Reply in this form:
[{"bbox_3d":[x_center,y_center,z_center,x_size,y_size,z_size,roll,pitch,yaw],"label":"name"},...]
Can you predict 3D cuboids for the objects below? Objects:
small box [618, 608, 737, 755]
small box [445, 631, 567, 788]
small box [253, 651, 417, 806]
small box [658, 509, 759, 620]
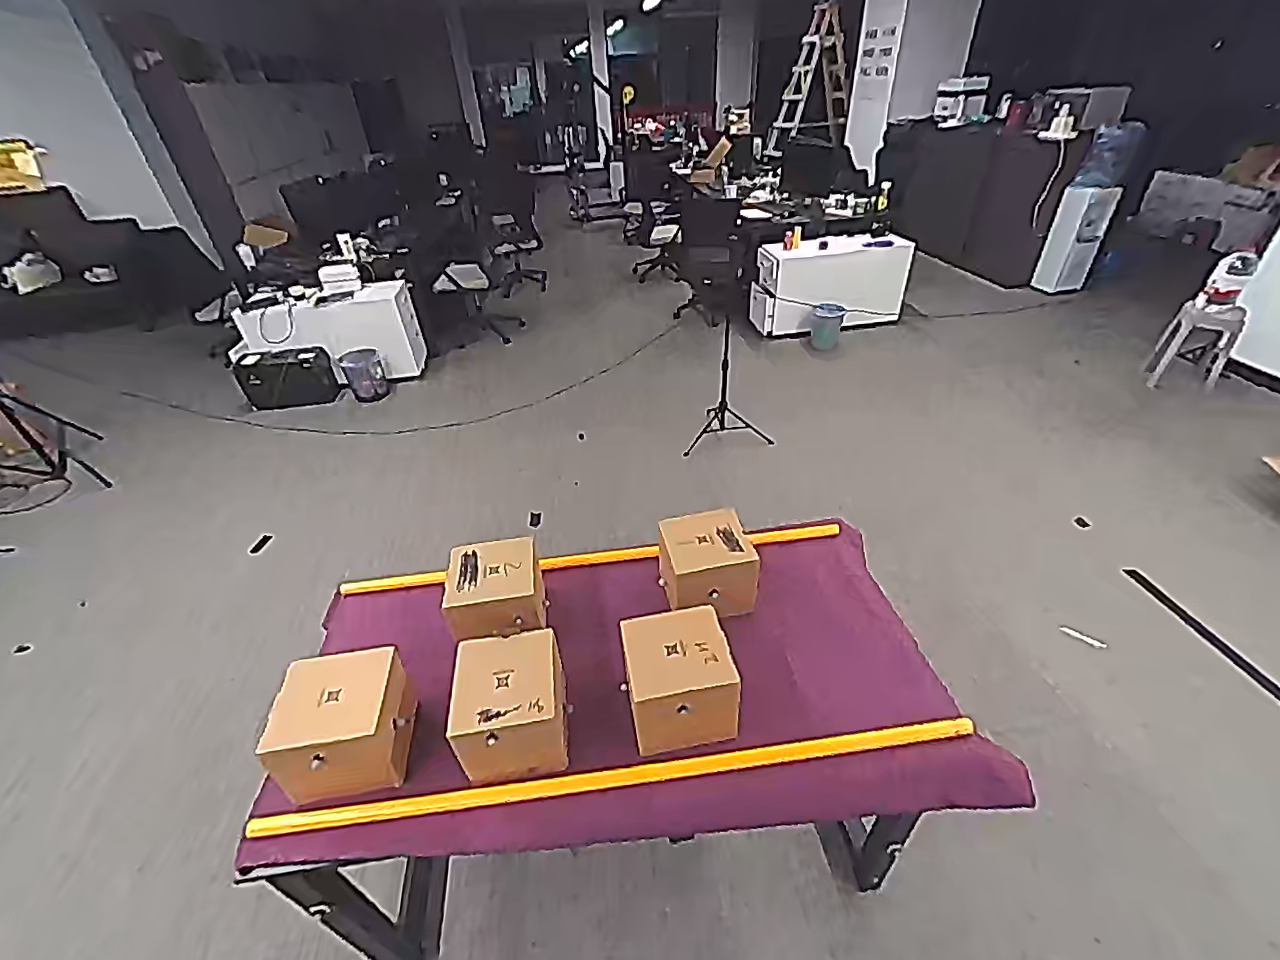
[{"bbox_3d":[0.064,0.355,0.951,0.179,0.176,0.168,-8,35,-6],"label":"small box"},{"bbox_3d":[-0.219,0.392,0.931,0.168,0.176,0.179,-8,36,-4],"label":"small box"},{"bbox_3d":[-0.498,0.421,0.919,0.179,0.176,0.168,-8,36,-6],"label":"small box"},{"bbox_3d":[0.141,0.190,1.166,0.179,0.176,0.168,-10,38,-6],"label":"small box"}]
